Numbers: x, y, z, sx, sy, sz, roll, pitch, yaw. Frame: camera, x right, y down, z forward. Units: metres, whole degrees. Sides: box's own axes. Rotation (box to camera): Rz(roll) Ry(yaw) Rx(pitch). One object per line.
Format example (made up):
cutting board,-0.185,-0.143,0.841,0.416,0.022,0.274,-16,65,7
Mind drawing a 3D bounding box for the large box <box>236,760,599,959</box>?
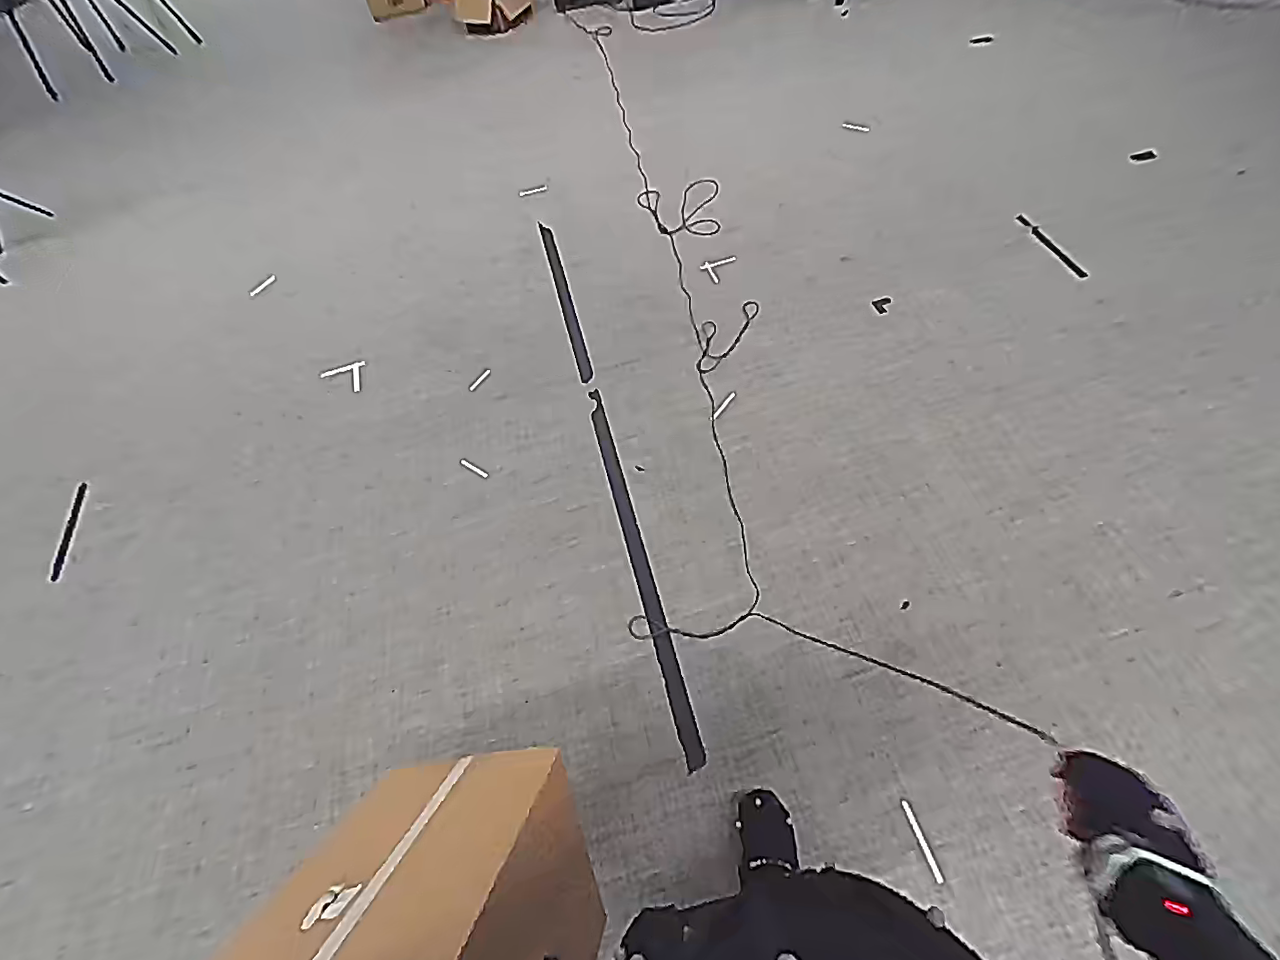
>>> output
large box,-0.269,0.650,0.713,0.320,0.408,0.320,-14,96,11
